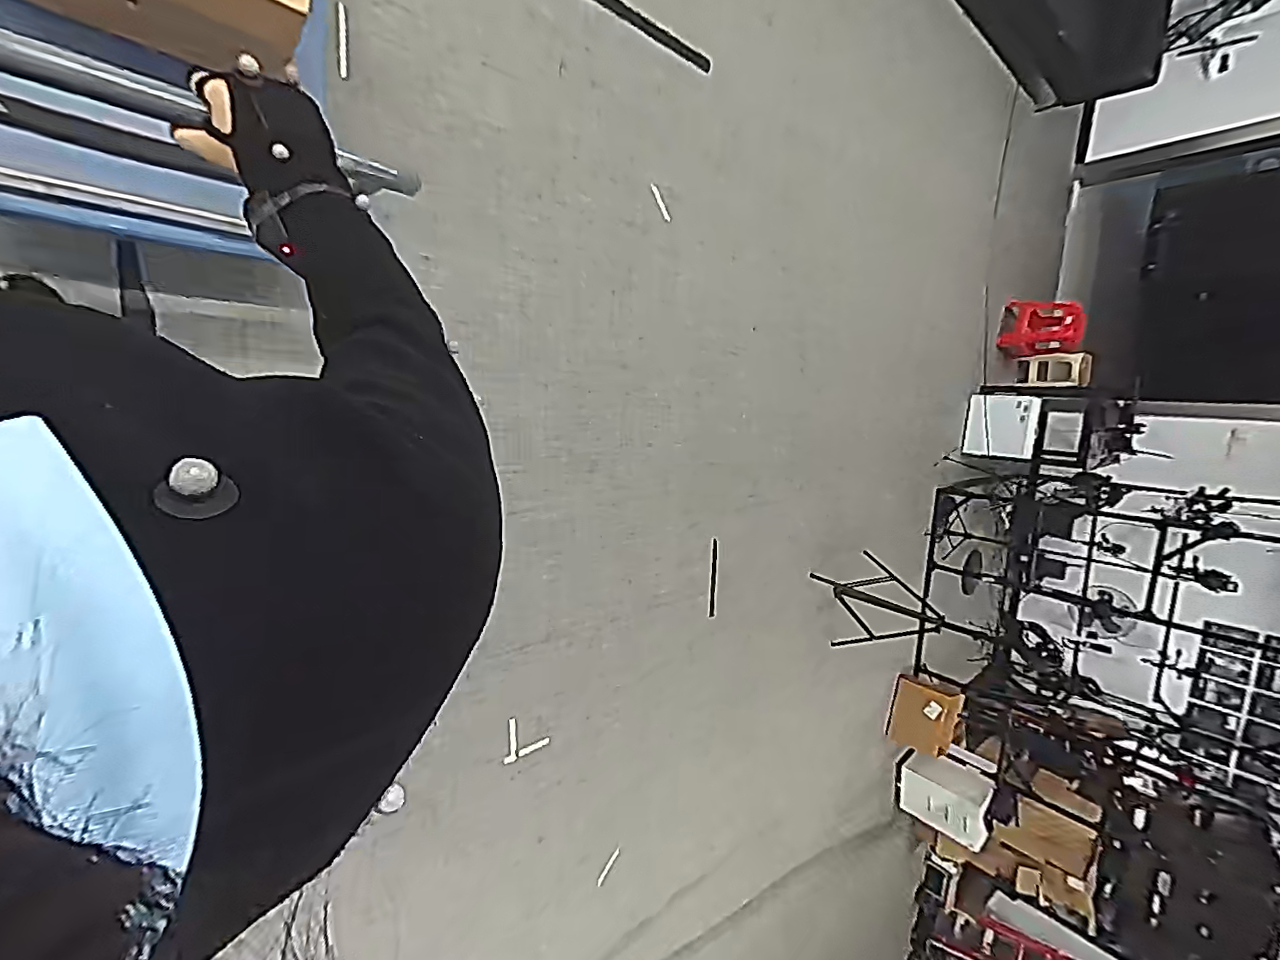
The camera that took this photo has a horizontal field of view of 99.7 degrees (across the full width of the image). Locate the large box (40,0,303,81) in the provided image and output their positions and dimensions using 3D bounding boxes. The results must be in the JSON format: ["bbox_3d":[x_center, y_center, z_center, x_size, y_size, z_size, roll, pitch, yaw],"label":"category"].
[{"bbox_3d":[-0.747,-0.877,0.780,0.408,0.320,0.320,-2,99,-41],"label":"large box"}]
